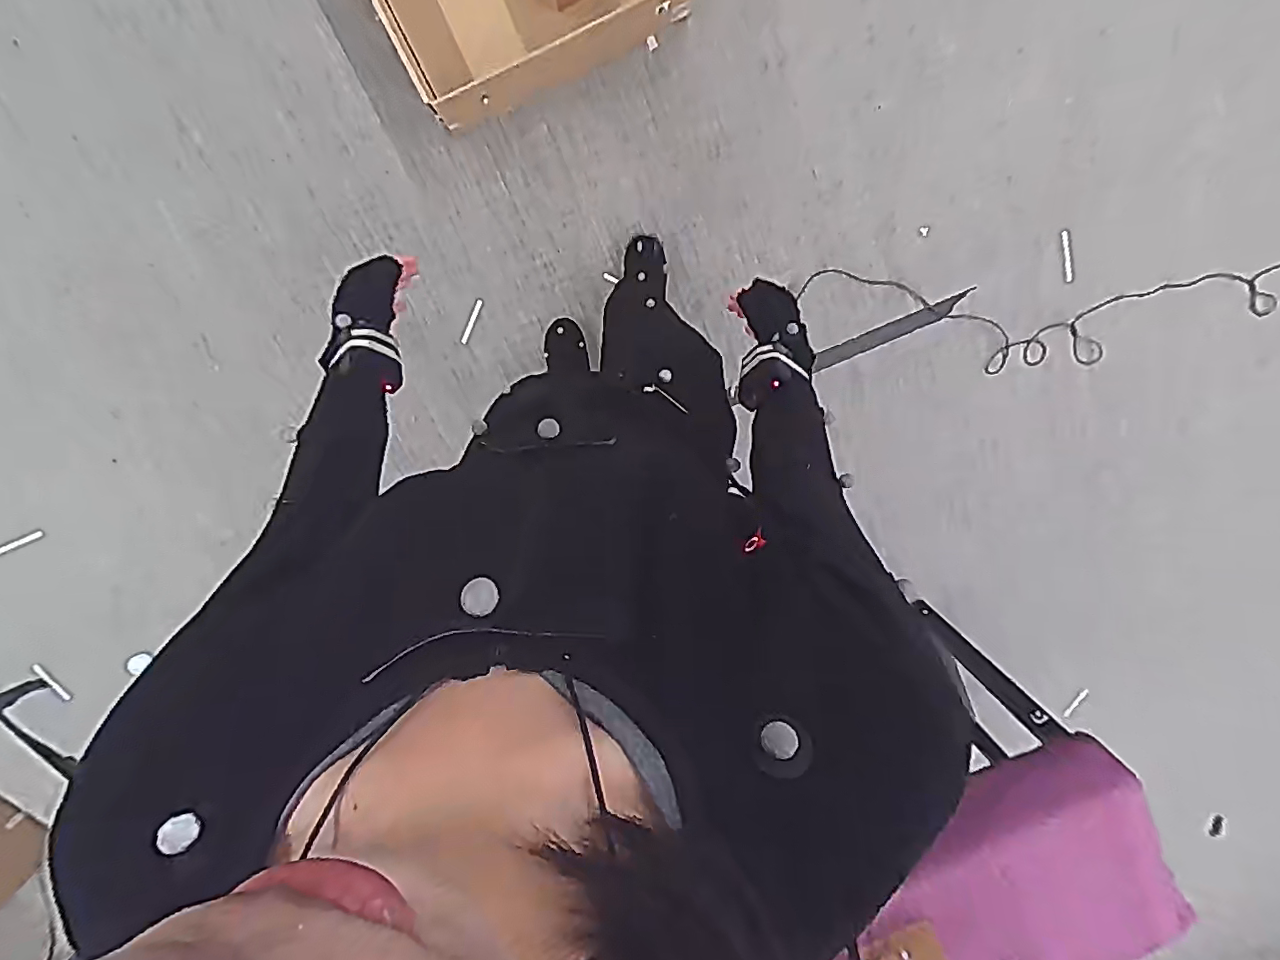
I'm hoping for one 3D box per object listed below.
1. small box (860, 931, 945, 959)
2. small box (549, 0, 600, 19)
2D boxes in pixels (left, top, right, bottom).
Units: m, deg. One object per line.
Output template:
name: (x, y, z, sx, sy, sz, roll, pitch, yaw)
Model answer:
small box: (0.589, 1.094, 1.118, 0.168, 0.176, 0.179, -27, 108, 3)
small box: (-0.124, -1.066, 1.057, 0.179, 0.176, 0.168, -26, 108, 4)
